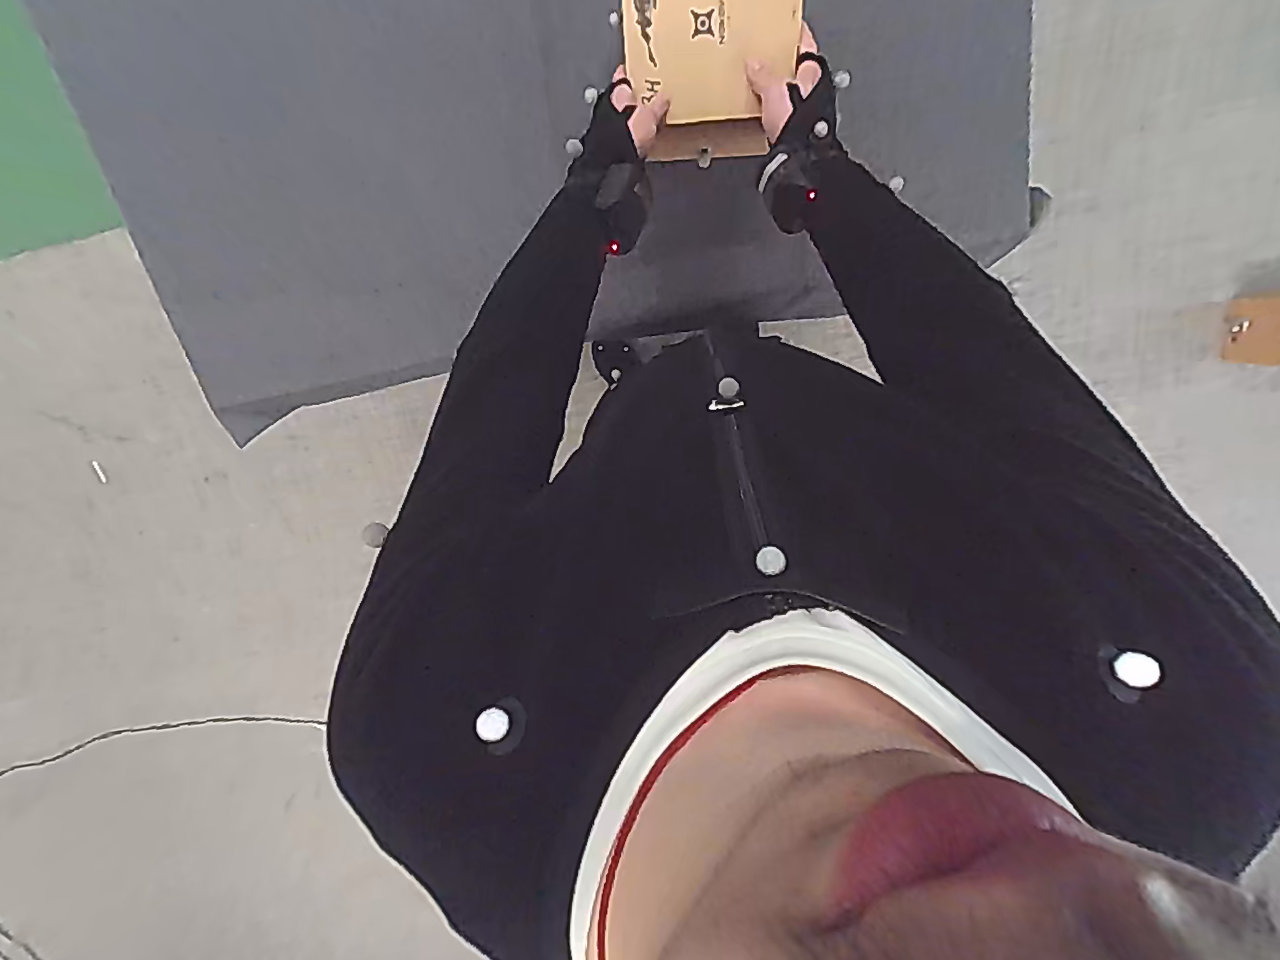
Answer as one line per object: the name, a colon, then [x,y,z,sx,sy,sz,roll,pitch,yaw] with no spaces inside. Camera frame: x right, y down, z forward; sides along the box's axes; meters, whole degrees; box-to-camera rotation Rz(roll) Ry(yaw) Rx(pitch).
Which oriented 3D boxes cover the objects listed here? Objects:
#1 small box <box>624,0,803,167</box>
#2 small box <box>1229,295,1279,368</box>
small box: [0.073,-0.466,0.611,0.179,0.176,0.168,-3,109,2]
small box: [1.647,-0.376,1.342,0.179,0.176,0.168,-9,106,5]
